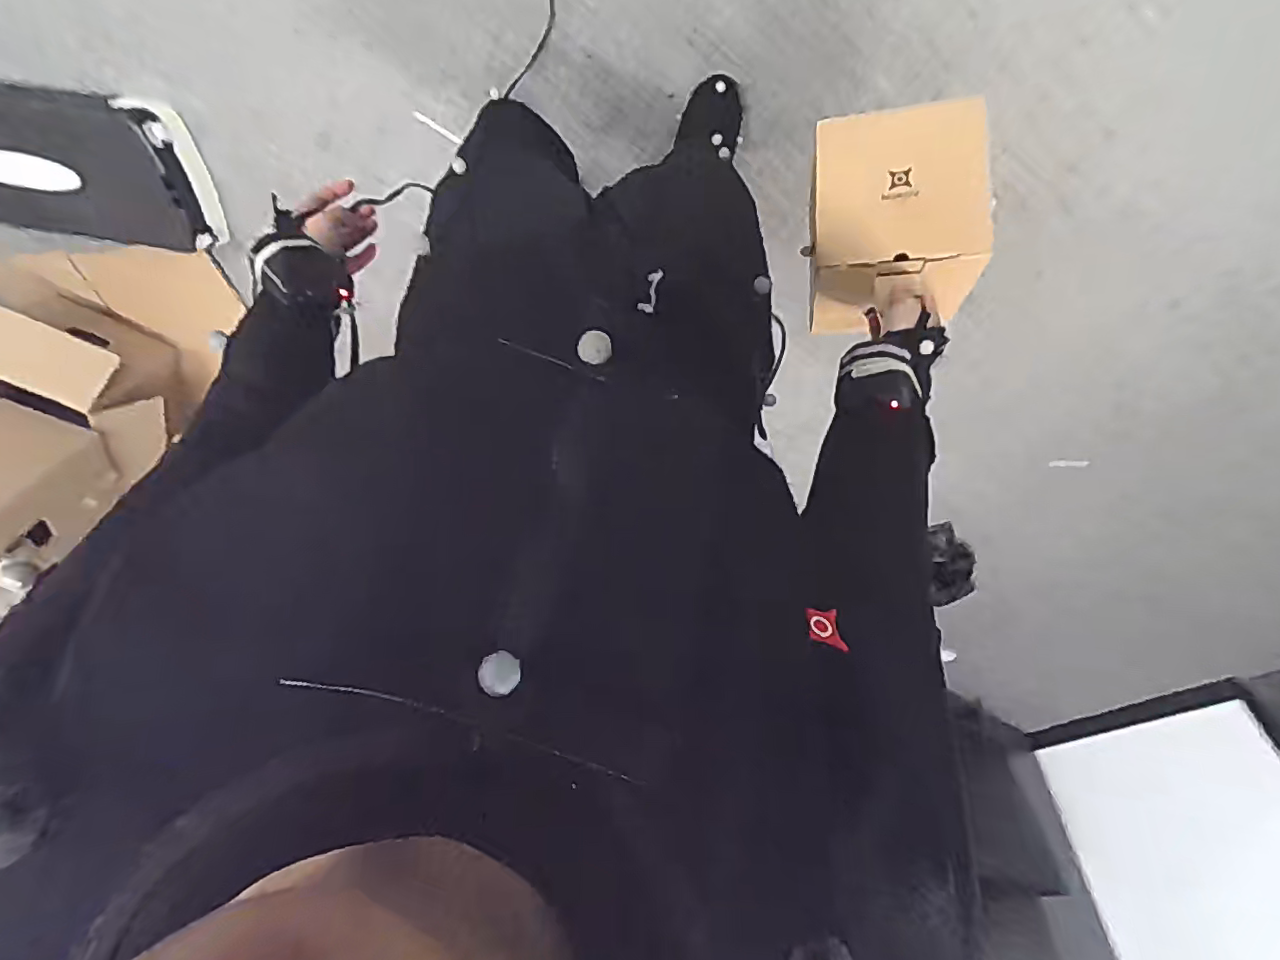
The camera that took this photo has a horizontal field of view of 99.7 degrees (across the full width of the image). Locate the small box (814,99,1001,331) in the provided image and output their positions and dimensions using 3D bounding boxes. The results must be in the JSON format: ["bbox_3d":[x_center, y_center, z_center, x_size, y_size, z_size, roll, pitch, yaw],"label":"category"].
[{"bbox_3d":[0.297,-0.294,0.634,0.168,0.179,0.176,1,173,14],"label":"small box"}]
